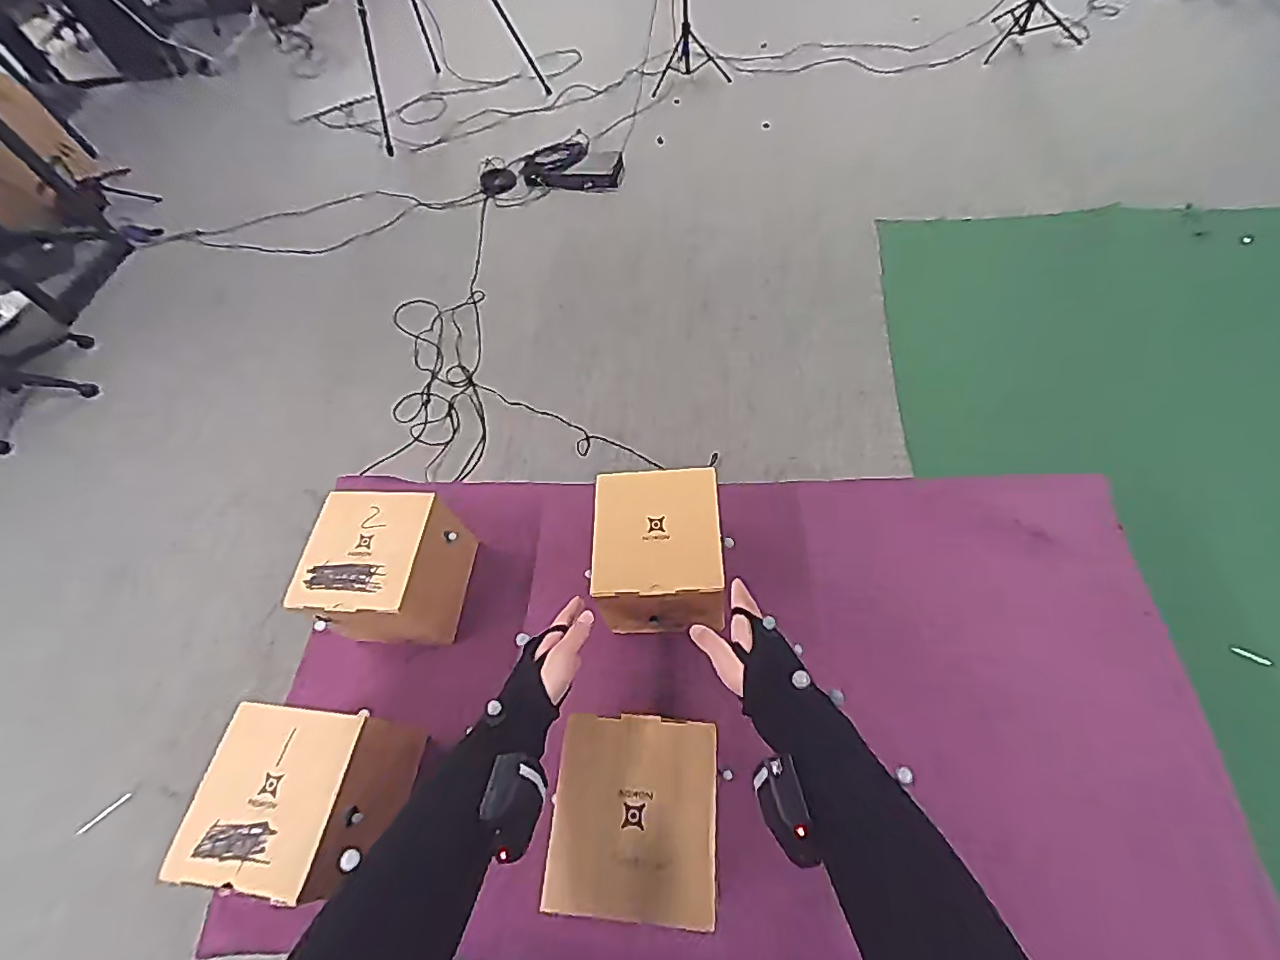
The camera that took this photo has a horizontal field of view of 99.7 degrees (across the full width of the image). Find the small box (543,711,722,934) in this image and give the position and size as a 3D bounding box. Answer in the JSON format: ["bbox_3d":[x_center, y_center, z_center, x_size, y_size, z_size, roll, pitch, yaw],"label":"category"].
[{"bbox_3d":[0.006,0.372,0.606,0.168,0.176,0.179,1,59,9],"label":"small box"}]

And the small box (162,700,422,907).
[{"bbox_3d":[-0.392,0.381,0.651,0.168,0.176,0.179,3,58,9],"label":"small box"}]

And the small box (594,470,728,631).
[{"bbox_3d":[0.032,0.104,0.763,0.168,0.176,0.179,-3,60,5],"label":"small box"}]
